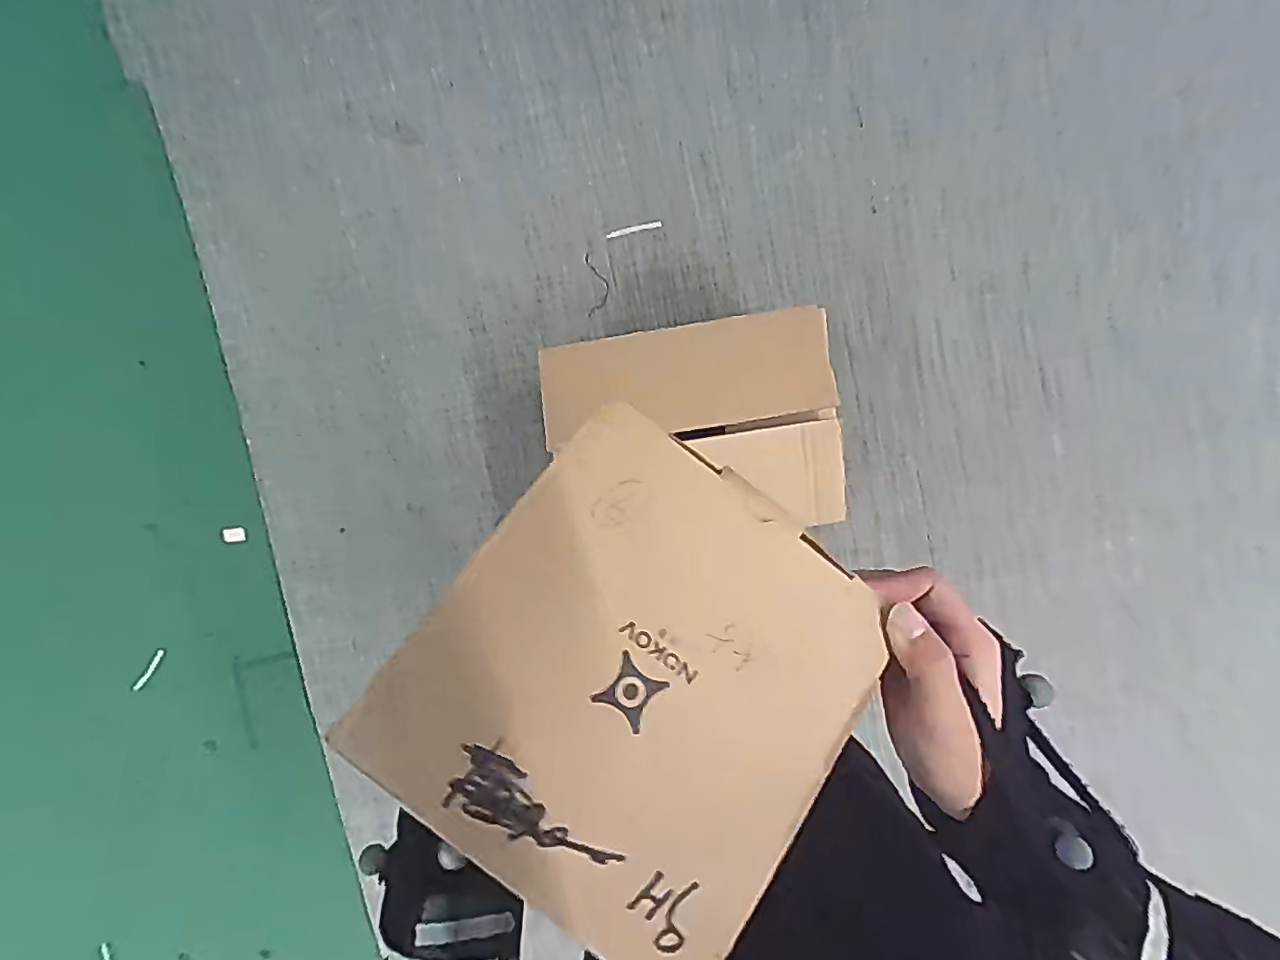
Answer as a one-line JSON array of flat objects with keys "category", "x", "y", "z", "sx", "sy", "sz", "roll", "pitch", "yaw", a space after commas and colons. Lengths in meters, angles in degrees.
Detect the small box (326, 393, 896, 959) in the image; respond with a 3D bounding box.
[{"category": "small box", "x": -0.013, "y": 0.091, "z": 0.290, "sx": 0.168, "sy": 0.176, "sz": 0.179, "roll": 38, "pitch": 75, "yaw": 1}]
